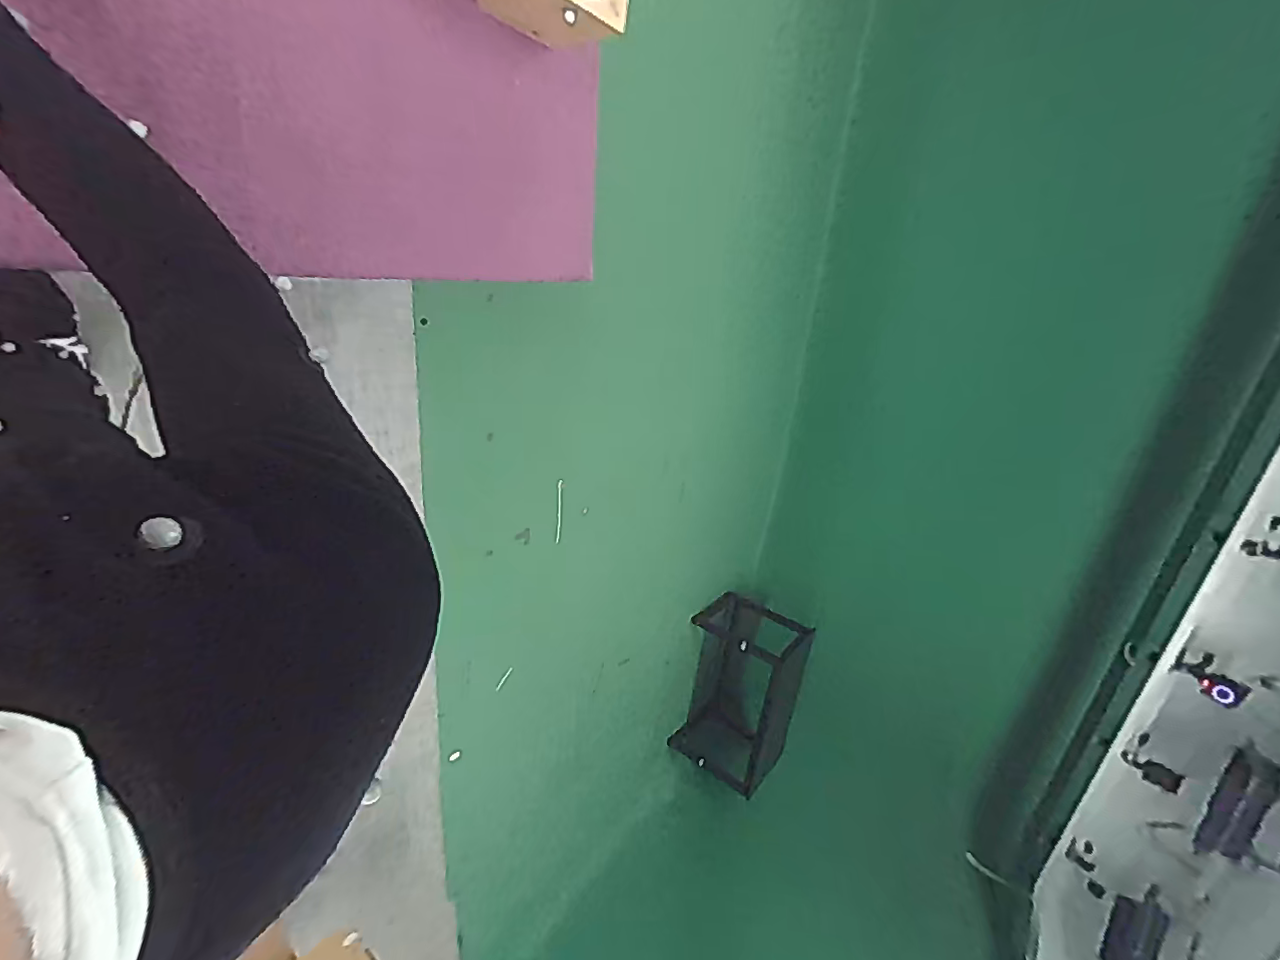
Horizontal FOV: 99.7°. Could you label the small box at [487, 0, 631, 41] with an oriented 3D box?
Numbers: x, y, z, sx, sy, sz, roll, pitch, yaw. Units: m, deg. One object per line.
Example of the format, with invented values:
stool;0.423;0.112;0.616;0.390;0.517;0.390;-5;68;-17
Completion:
small box;-0.124;-0.802;0.809;0.168;0.176;0.179;-18;122;-49
